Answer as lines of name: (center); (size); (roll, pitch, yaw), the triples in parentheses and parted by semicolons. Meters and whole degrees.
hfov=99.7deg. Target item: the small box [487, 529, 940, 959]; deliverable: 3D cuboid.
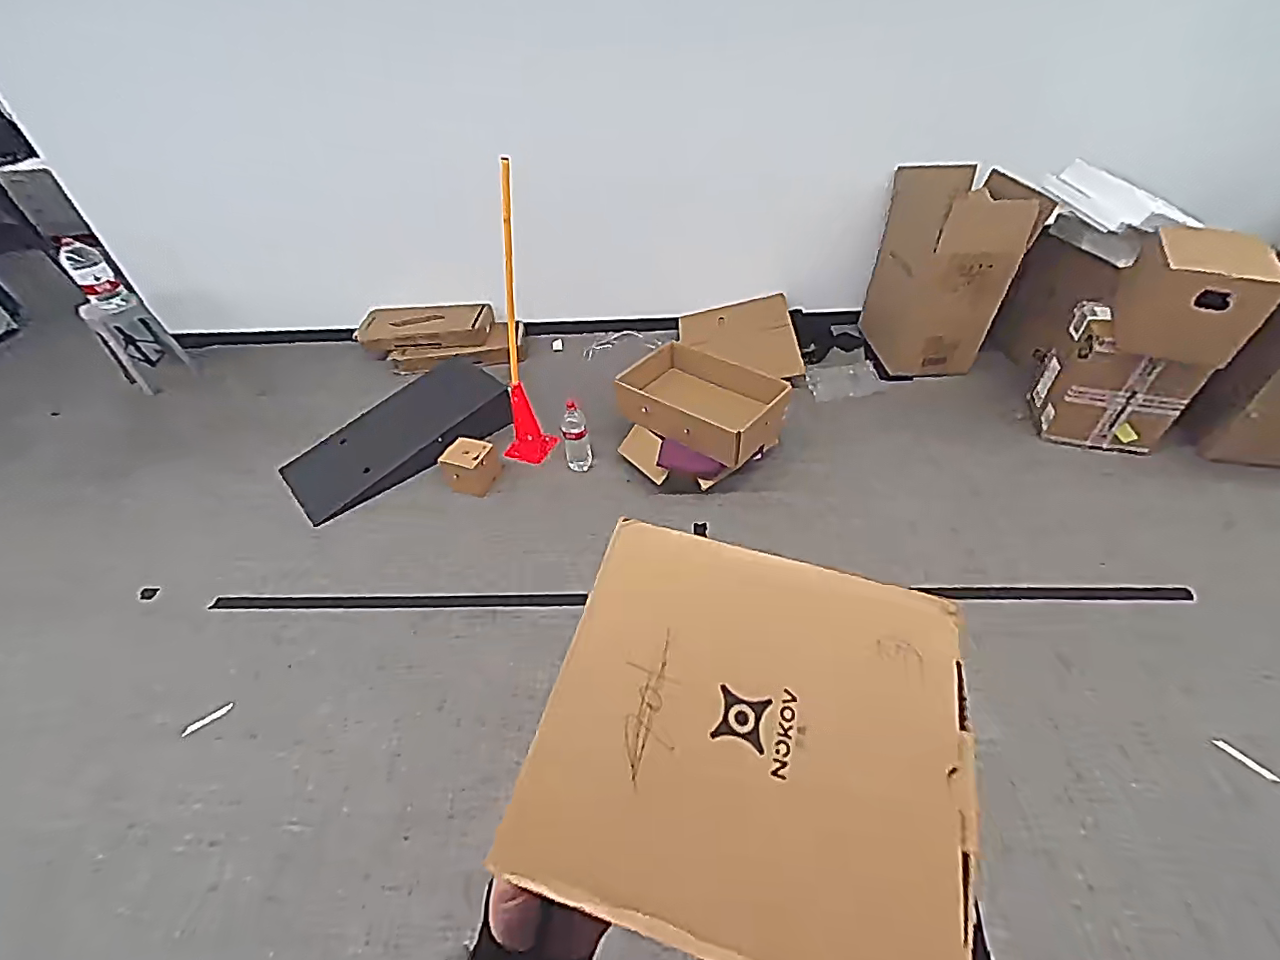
small box: (0.046, 0.157, 0.311); (0.179, 0.176, 0.168); (13, 54, 12)
